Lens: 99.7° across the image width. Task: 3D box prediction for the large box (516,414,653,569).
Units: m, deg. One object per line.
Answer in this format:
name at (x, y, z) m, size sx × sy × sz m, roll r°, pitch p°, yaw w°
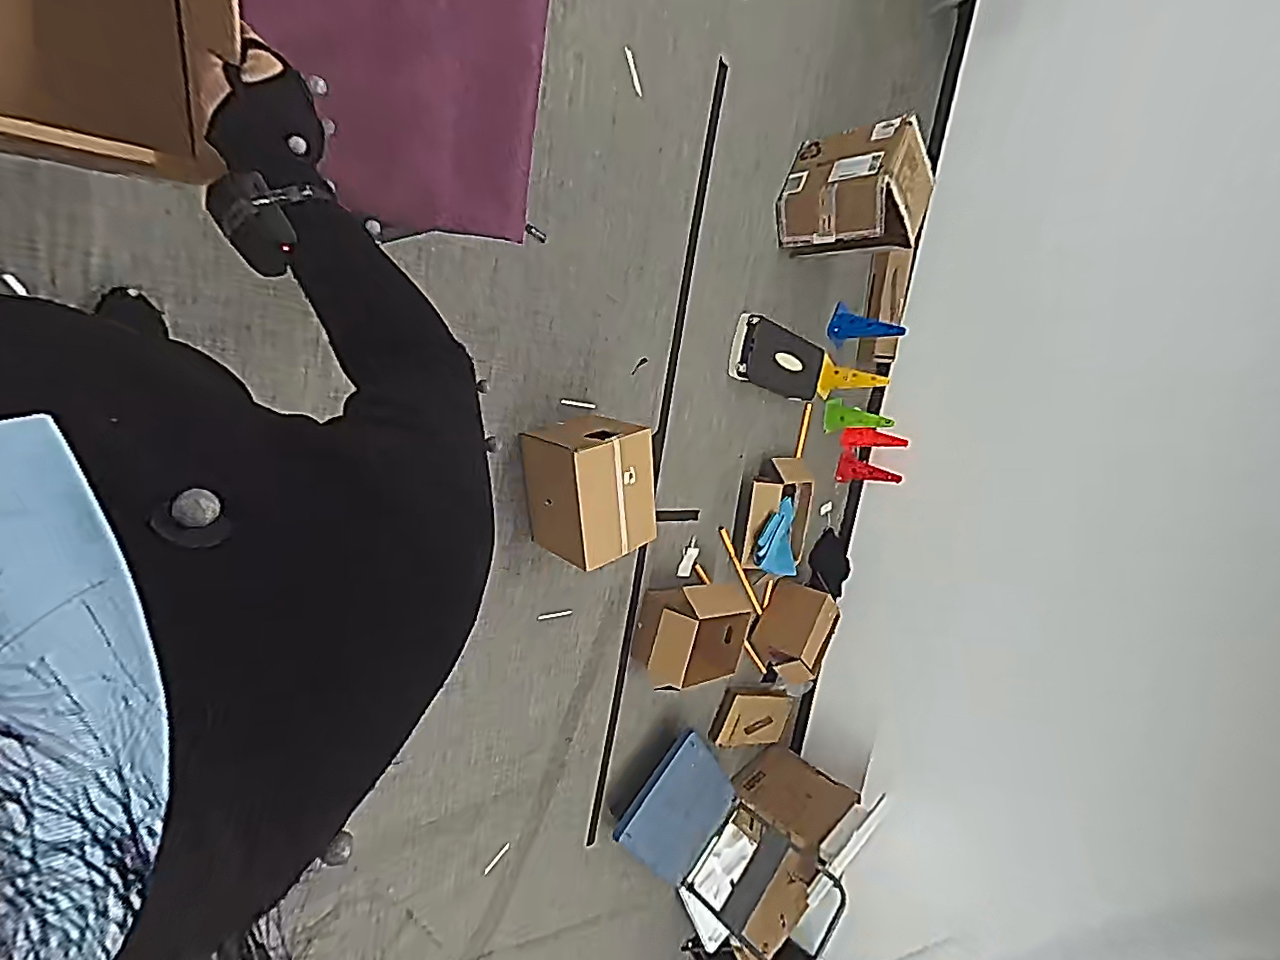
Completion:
large box at (-0.183, 0.021, 1.810) m, size 0.320 × 0.320 × 0.408 m, roll -22°, pitch 117°, yaw -39°
